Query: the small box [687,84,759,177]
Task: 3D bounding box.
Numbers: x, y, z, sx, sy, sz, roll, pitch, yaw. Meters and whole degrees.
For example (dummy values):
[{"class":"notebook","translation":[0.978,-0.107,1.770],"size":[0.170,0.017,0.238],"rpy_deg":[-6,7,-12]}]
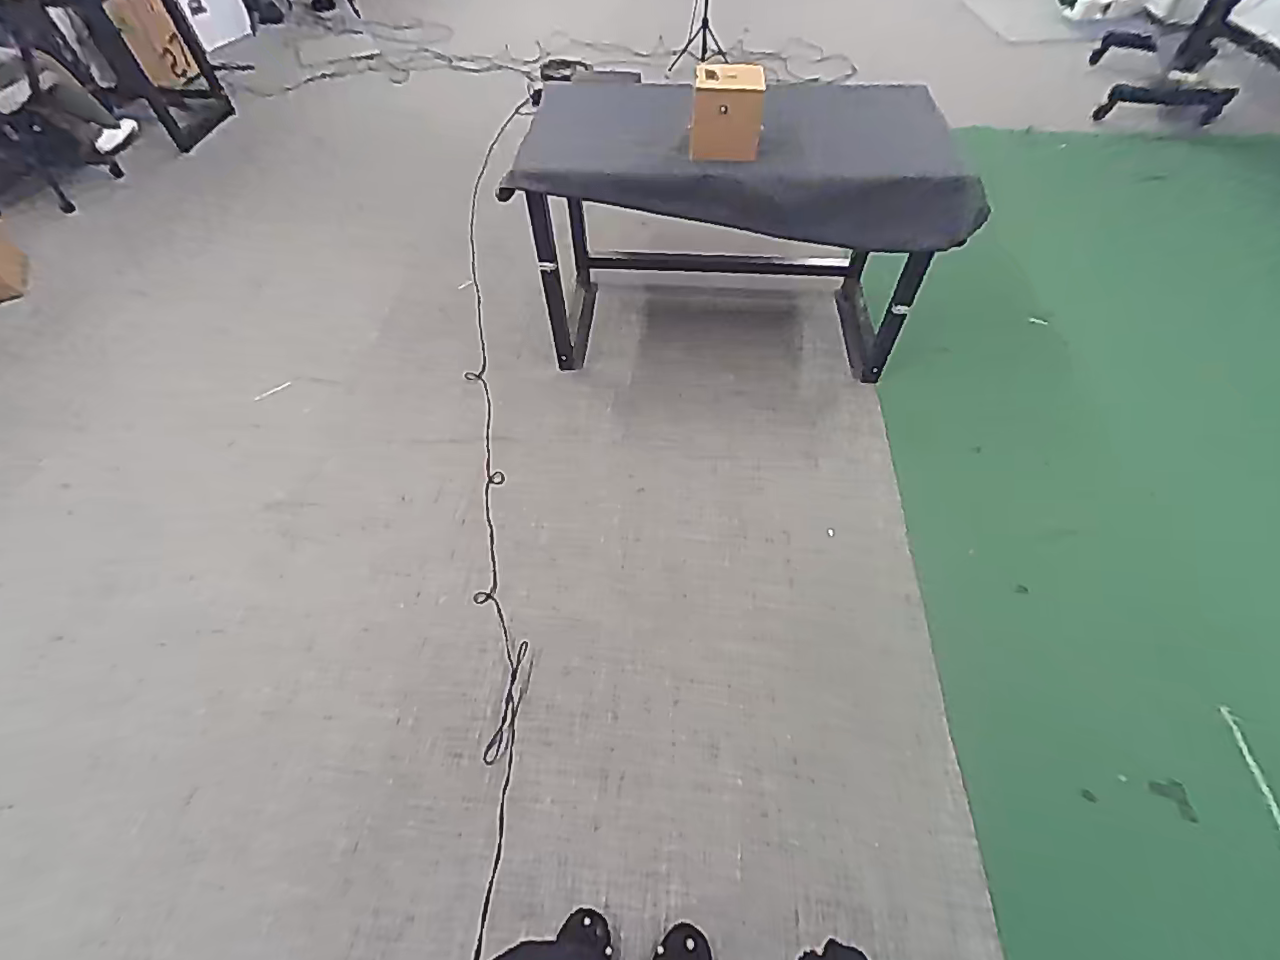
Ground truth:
[{"class":"small box","translation":[0.221,-0.942,1.462],"size":[0.179,0.176,0.168],"rpy_deg":[4,54,4]}]
